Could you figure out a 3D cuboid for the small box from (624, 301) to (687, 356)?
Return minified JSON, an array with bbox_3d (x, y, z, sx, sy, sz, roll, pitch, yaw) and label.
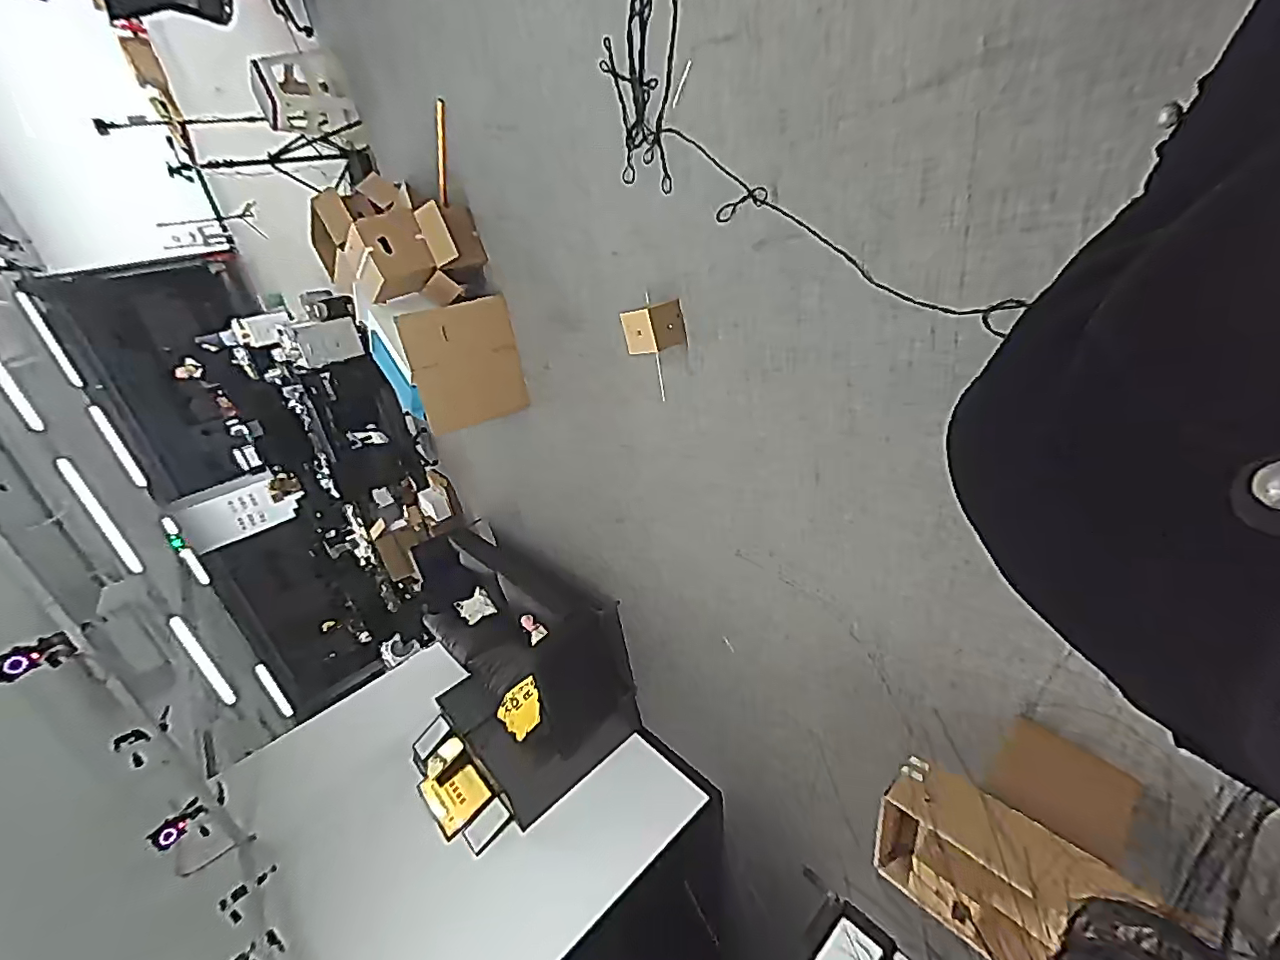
[{"bbox_3d":[0.070,-0.599,2.136,0.179,0.176,0.168,12,123,51],"label":"small box"}]
